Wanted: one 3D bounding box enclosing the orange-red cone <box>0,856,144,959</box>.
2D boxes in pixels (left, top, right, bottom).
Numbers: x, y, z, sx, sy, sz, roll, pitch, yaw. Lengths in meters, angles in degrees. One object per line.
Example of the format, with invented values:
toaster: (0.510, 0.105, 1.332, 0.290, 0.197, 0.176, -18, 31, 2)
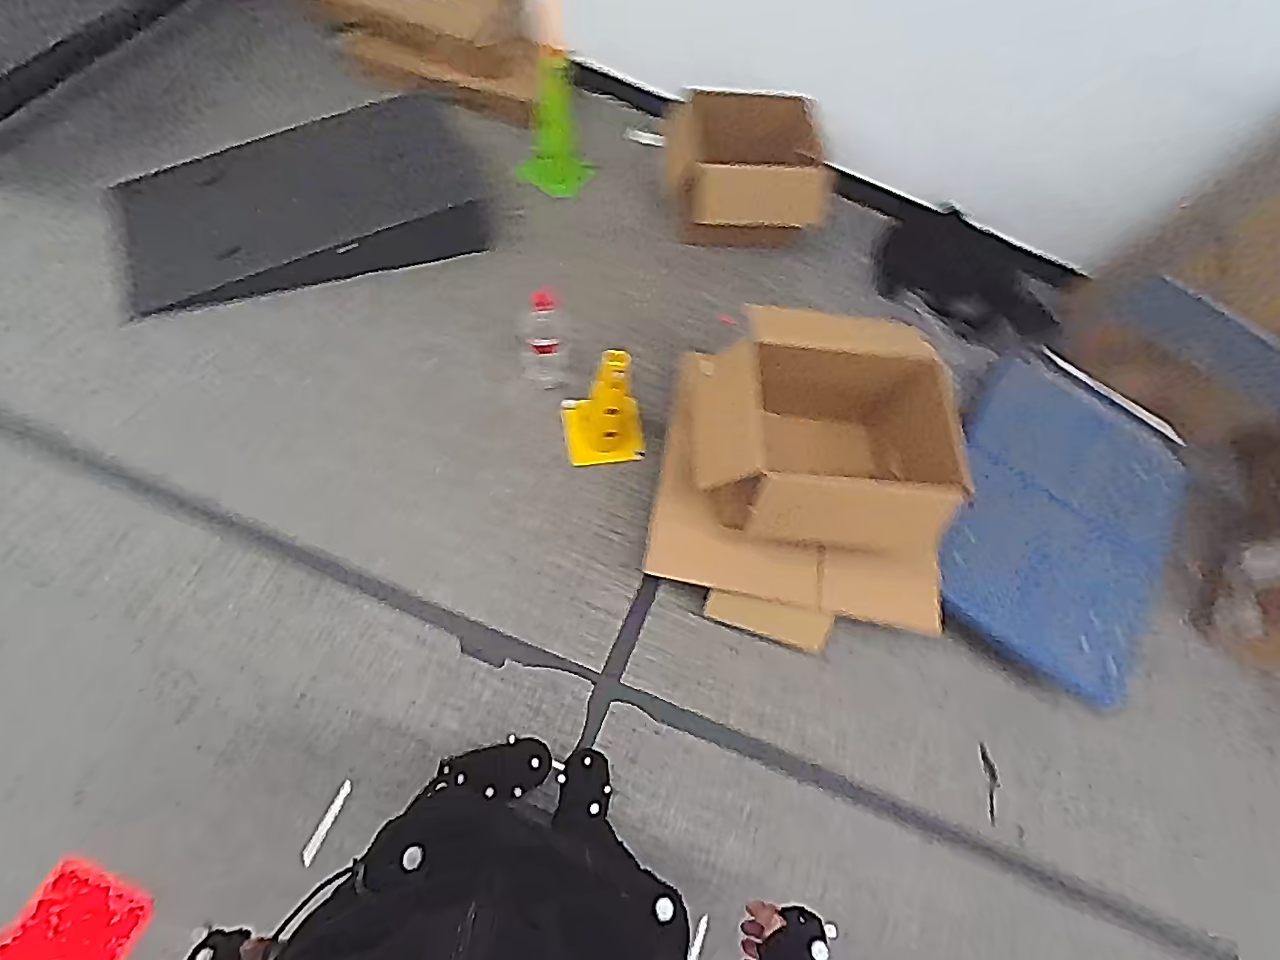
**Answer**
orange-red cone: (-1.017, 0.759, 0.821, 0.198, 0.360, 0.199, 28, 67, 3)
